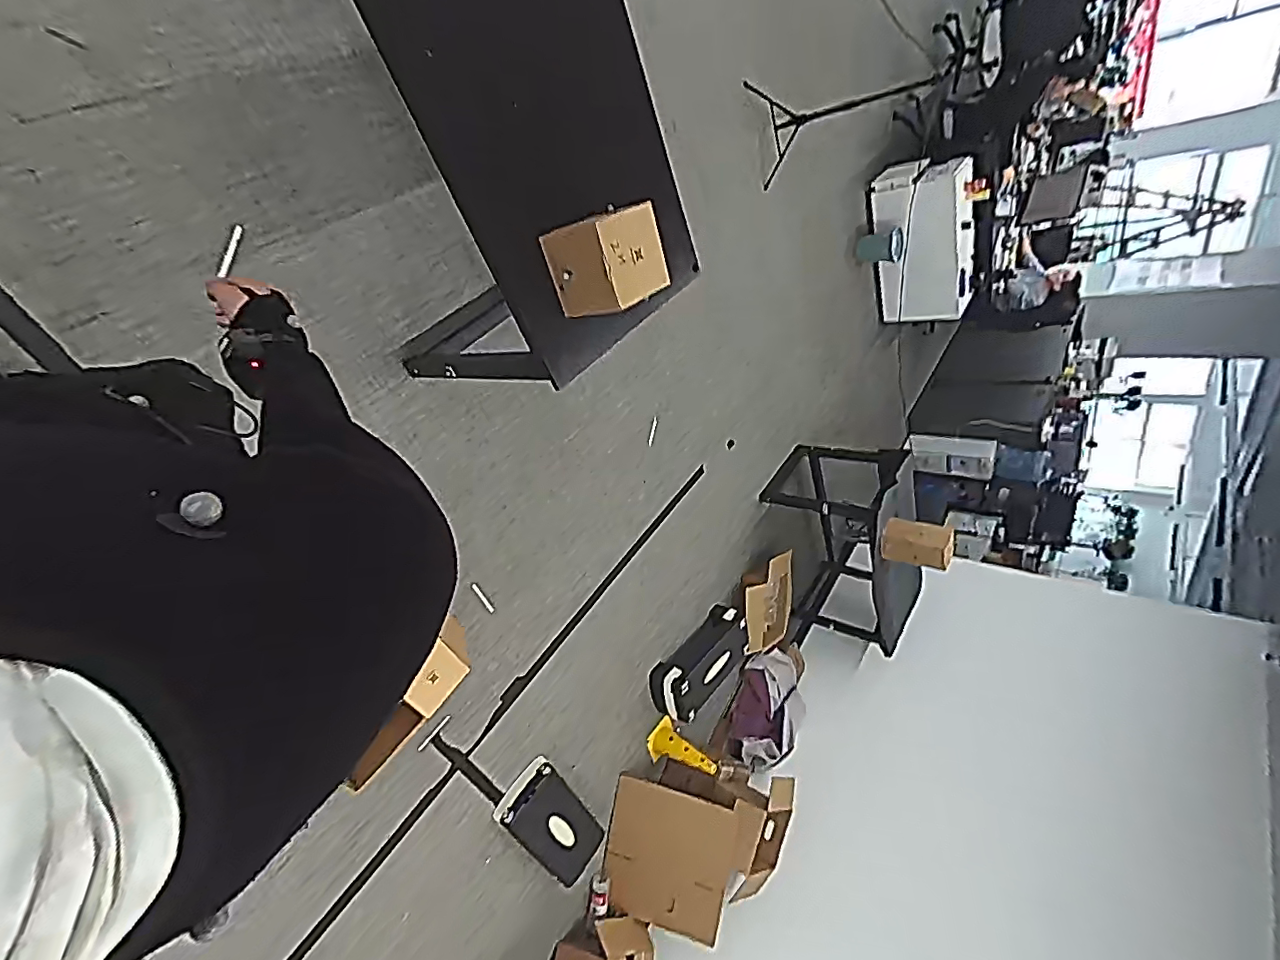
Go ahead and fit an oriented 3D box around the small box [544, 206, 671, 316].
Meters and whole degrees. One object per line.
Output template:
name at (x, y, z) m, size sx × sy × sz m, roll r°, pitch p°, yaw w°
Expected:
small box at (-0.067, -0.451, 1.124) m, size 0.179 × 0.176 × 0.168 m, roll -40°, pitch 125°, yaw -36°
